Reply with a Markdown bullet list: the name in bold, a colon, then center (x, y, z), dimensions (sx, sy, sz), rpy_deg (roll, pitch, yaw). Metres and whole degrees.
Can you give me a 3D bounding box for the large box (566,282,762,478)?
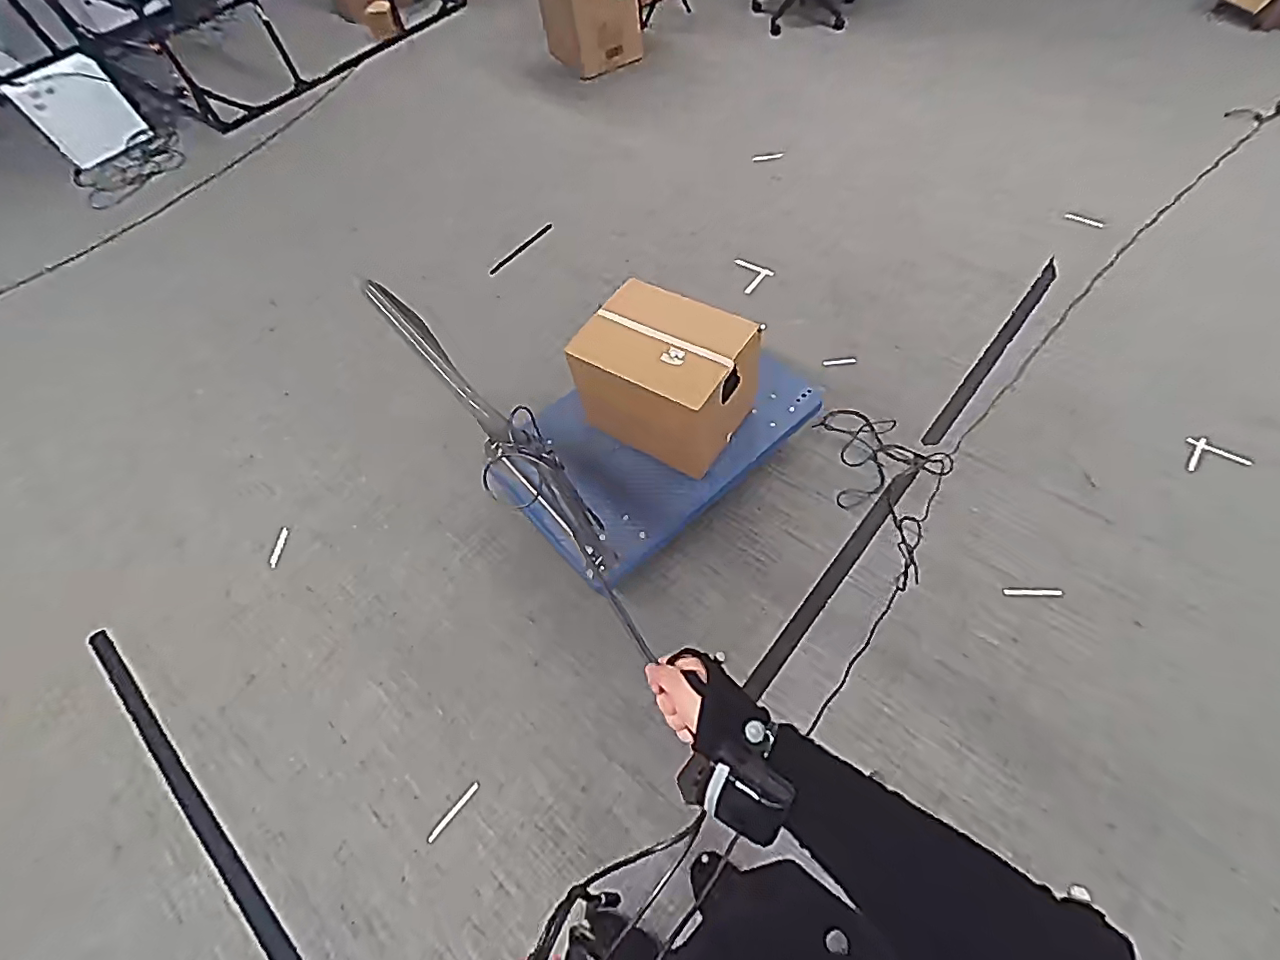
- **large box**: center (0.069, -0.271, 1.474), dimensions (0.408, 0.320, 0.320), rpy_deg (28, 67, 21)
